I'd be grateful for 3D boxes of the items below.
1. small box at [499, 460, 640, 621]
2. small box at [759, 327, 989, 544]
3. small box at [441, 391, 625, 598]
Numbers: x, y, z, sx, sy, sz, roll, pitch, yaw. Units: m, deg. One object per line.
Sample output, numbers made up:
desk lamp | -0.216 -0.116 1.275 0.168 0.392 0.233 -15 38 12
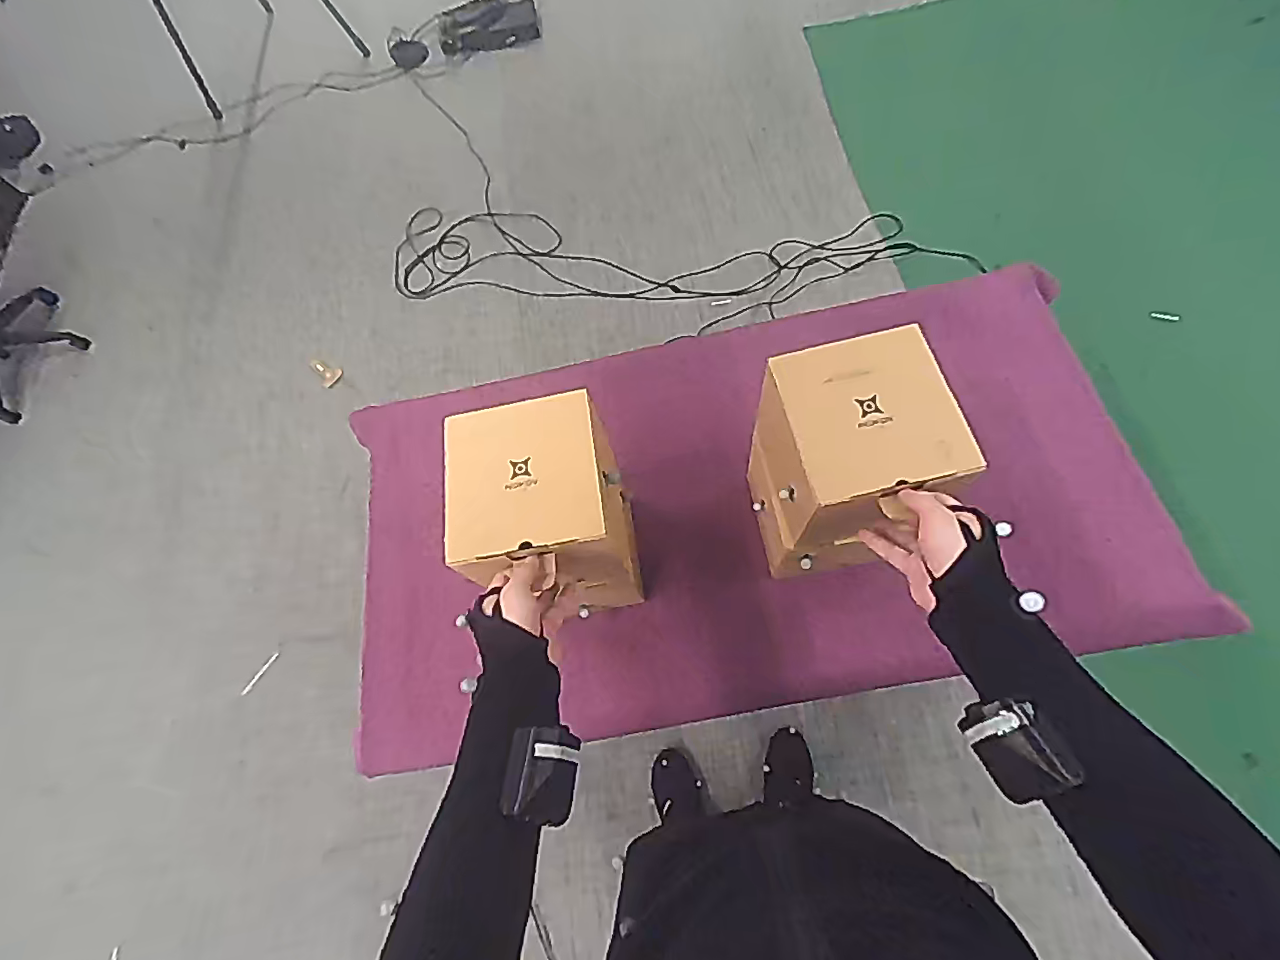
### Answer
small box | -0.098 0.093 0.778 0.168 0.176 0.179 -10 67 4
small box | 0.240 -0.036 0.608 0.168 0.176 0.179 -13 66 2
small box | -0.116 0.025 0.630 0.168 0.176 0.179 -10 66 2
